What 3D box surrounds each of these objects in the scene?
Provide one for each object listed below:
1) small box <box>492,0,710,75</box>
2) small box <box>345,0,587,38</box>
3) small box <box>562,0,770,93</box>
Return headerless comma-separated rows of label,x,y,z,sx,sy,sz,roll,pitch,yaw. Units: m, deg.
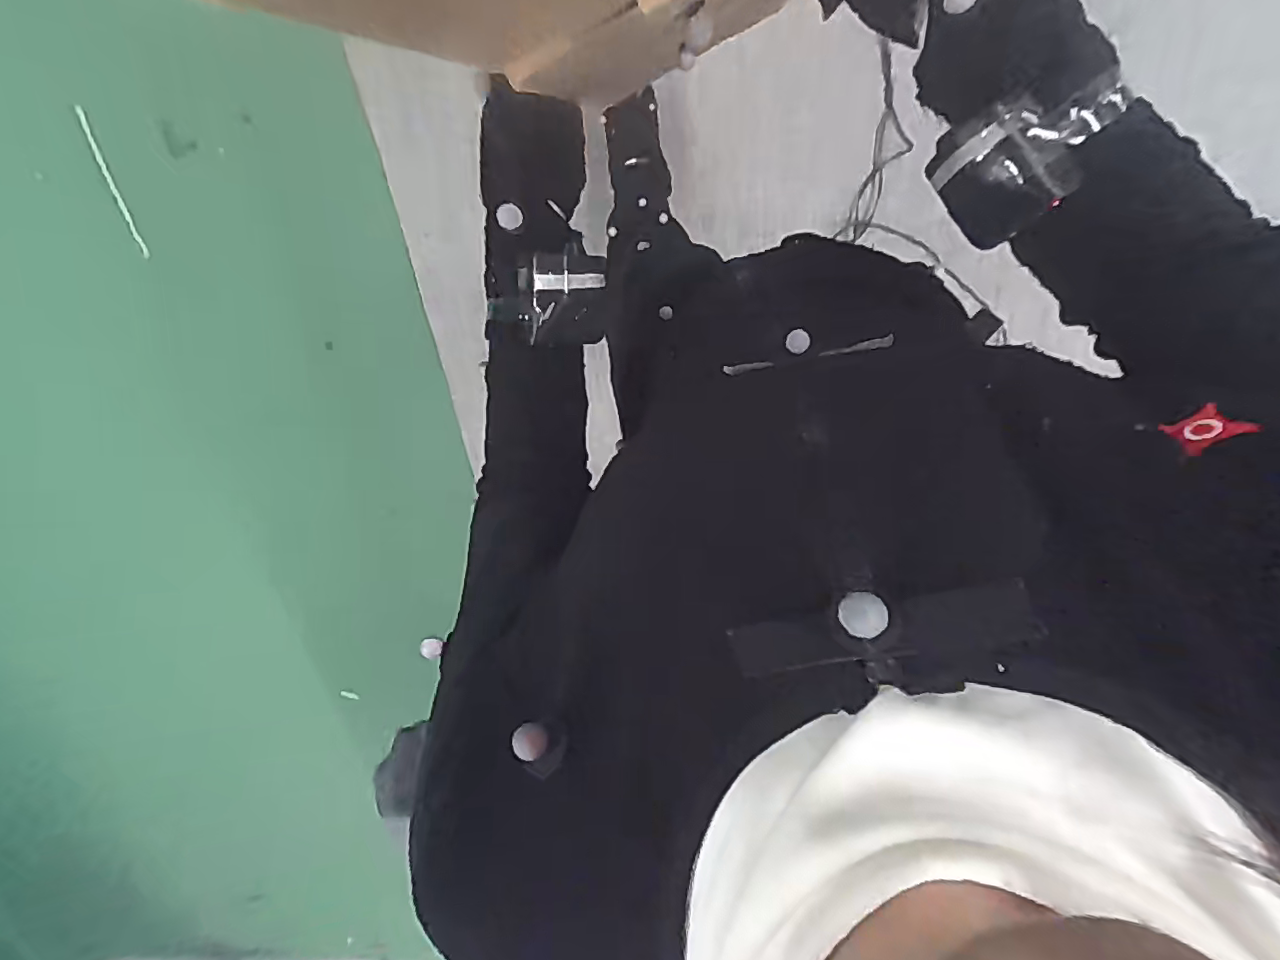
small box,-0.011,-0.307,0.227,0.168,0.176,0.179,-19,120,17
small box,-0.016,-0.216,0.090,0.179,0.176,0.168,-16,120,17
small box,0.005,-0.394,0.366,0.179,0.176,0.168,-20,120,15
